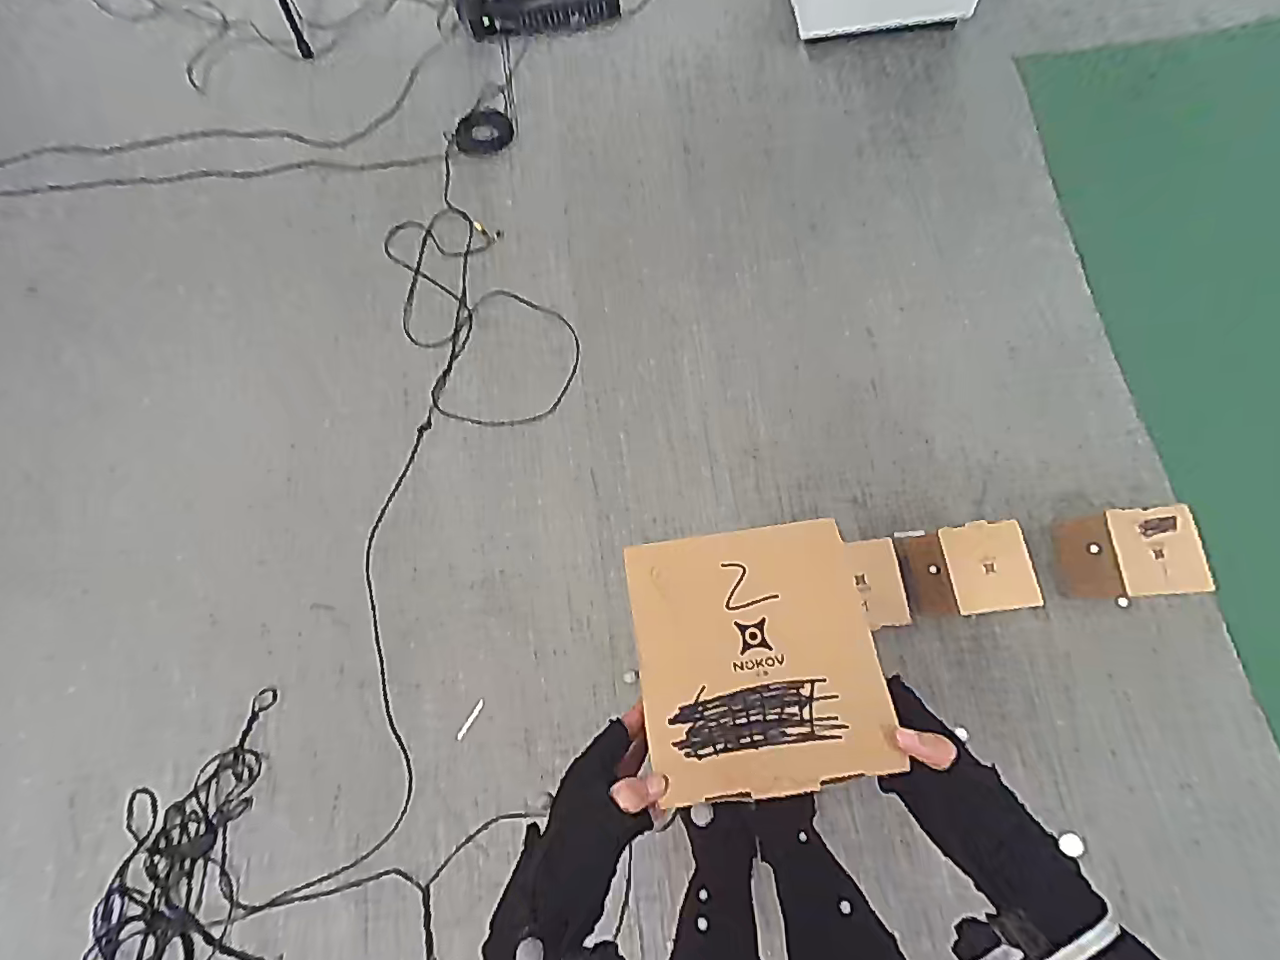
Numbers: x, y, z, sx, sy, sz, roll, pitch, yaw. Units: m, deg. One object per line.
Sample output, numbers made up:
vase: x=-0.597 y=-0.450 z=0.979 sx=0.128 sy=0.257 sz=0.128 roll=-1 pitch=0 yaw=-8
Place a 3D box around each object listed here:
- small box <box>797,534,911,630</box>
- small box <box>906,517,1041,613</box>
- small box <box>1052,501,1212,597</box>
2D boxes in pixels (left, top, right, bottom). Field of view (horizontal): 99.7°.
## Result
small box: x=0.447 y=0.224 z=1.161 sx=0.168 sy=0.176 sz=0.179 roll=-7 pitch=74 yaw=3
small box: x=0.700 y=0.188 z=1.158 sx=0.168 sy=0.176 sz=0.179 roll=-8 pitch=73 yaw=2
small box: x=1.024 y=0.151 z=1.145 sx=0.168 sy=0.176 sz=0.179 roll=-4 pitch=75 yaw=3
